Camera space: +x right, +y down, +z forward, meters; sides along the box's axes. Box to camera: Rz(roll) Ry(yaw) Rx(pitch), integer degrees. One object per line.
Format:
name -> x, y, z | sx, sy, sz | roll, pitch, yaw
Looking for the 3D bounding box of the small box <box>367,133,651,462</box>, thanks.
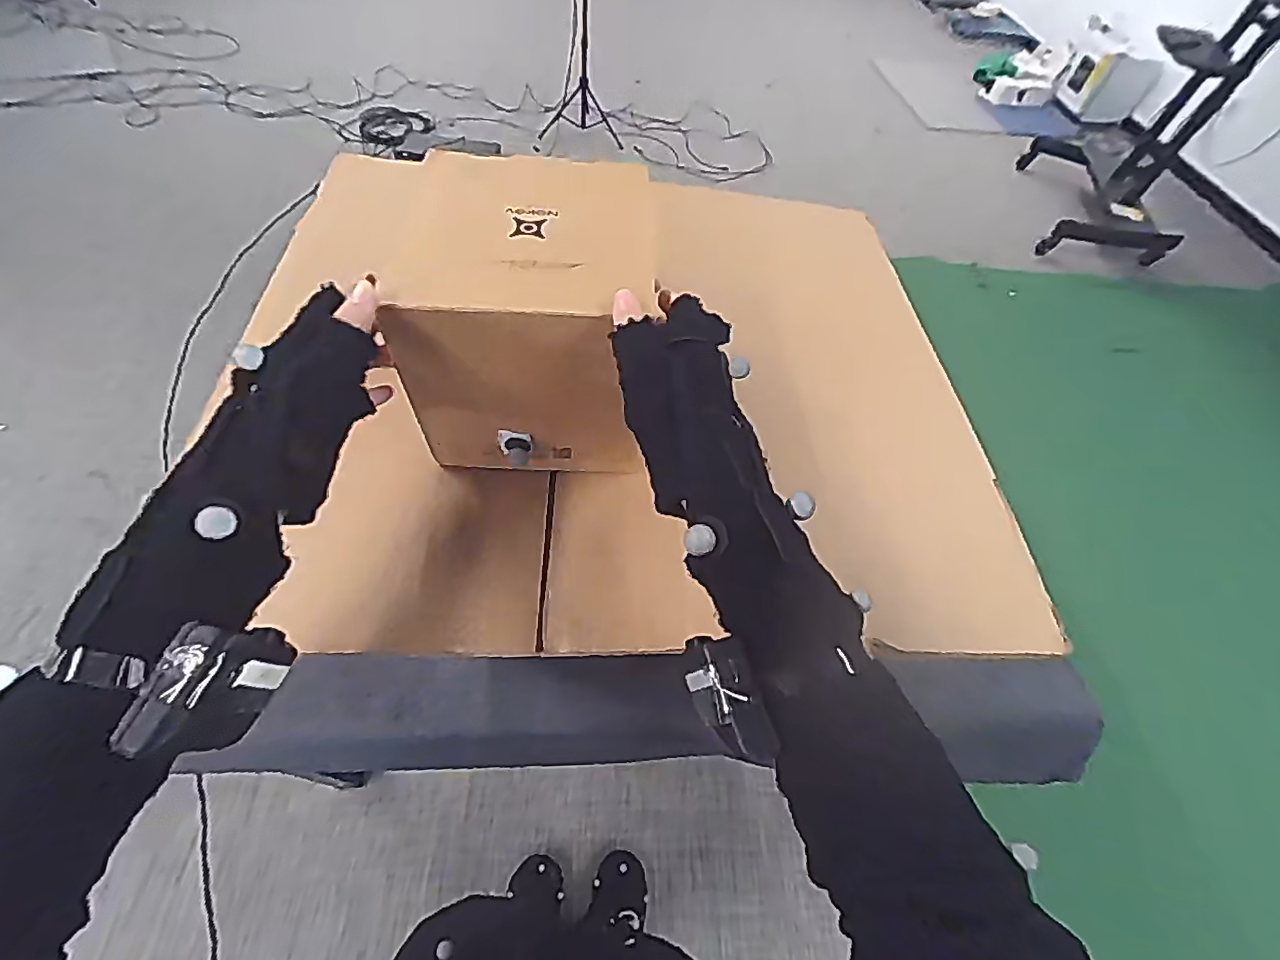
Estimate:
small box -> -0.083, -0.135, 0.423 | 0.168, 0.176, 0.179 | 2, 57, -4
